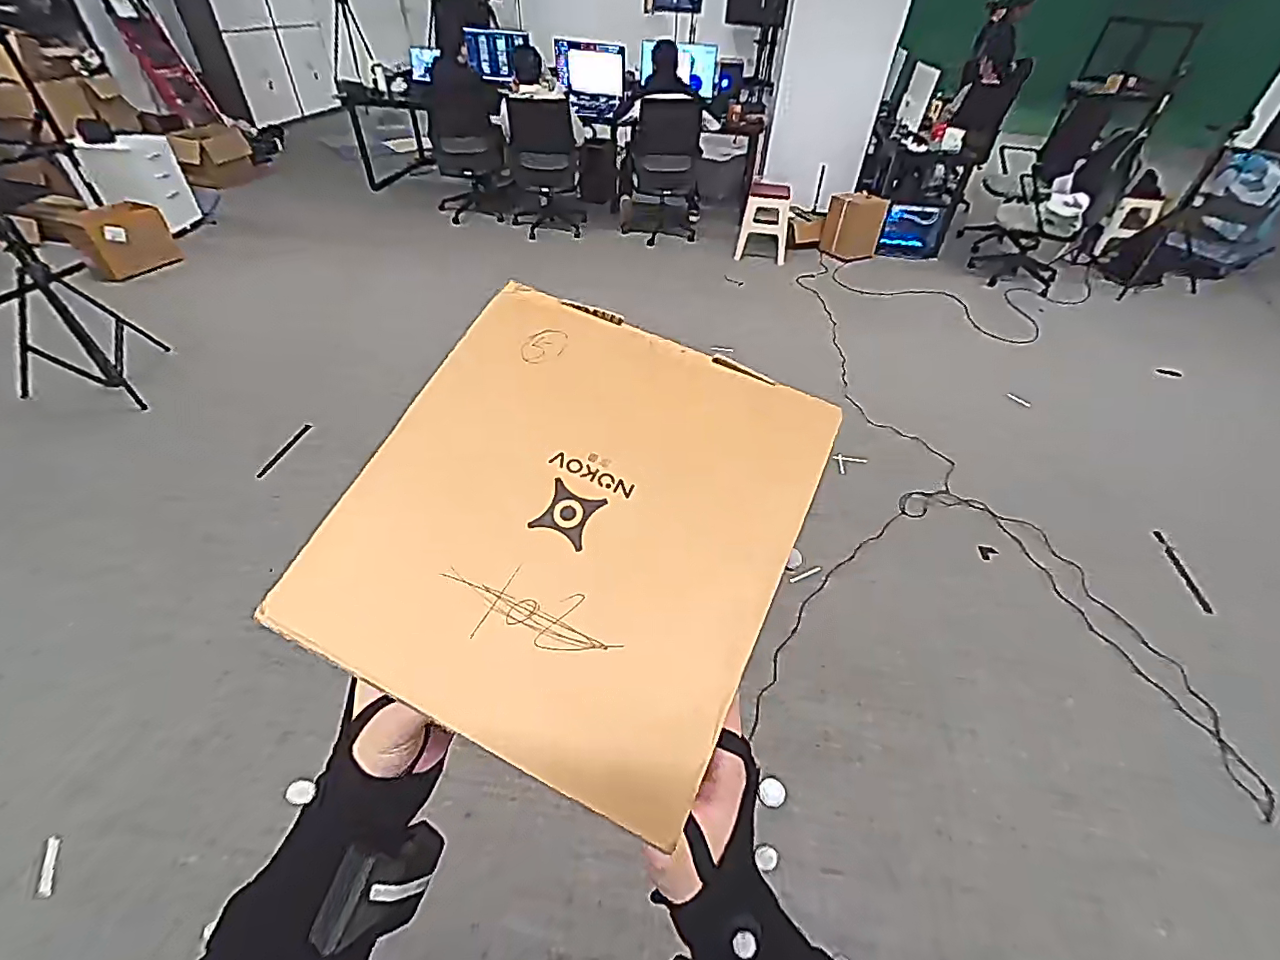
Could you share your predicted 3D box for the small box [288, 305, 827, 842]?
[{"bbox_3d":[-0.026,0.048,0.294,0.168,0.176,0.179,23,69,11],"label":"small box"}]
